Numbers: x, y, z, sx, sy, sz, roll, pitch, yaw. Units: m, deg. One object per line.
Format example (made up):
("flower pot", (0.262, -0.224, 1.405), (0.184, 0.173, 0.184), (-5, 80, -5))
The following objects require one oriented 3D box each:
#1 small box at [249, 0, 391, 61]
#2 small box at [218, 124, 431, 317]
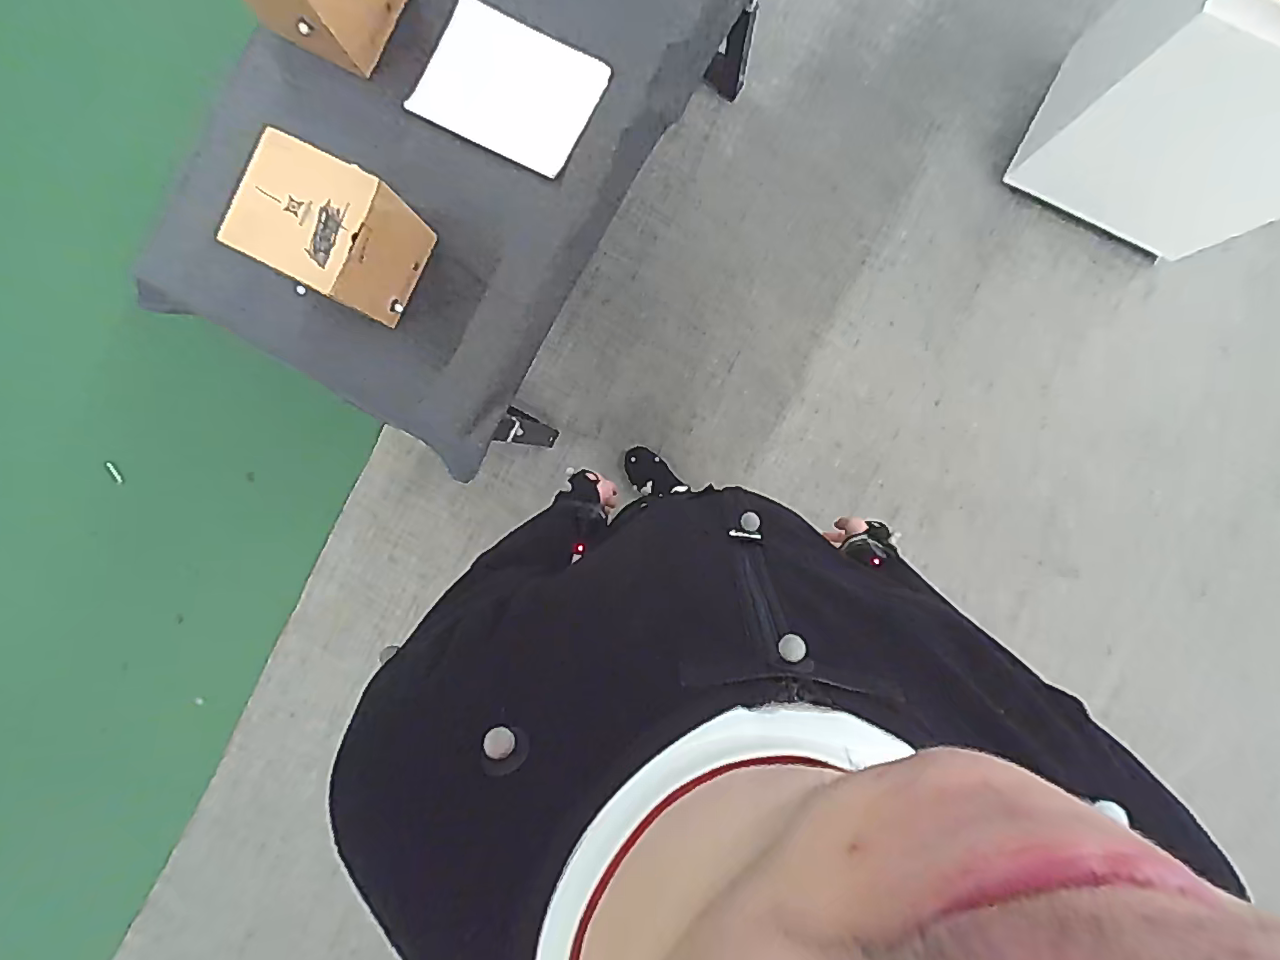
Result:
("small box", (-0.474, -0.746, 0.758), (0.179, 0.176, 0.168), (27, 92, 2))
("small box", (-0.438, -0.355, 0.783), (0.179, 0.176, 0.168), (27, 92, 2))
